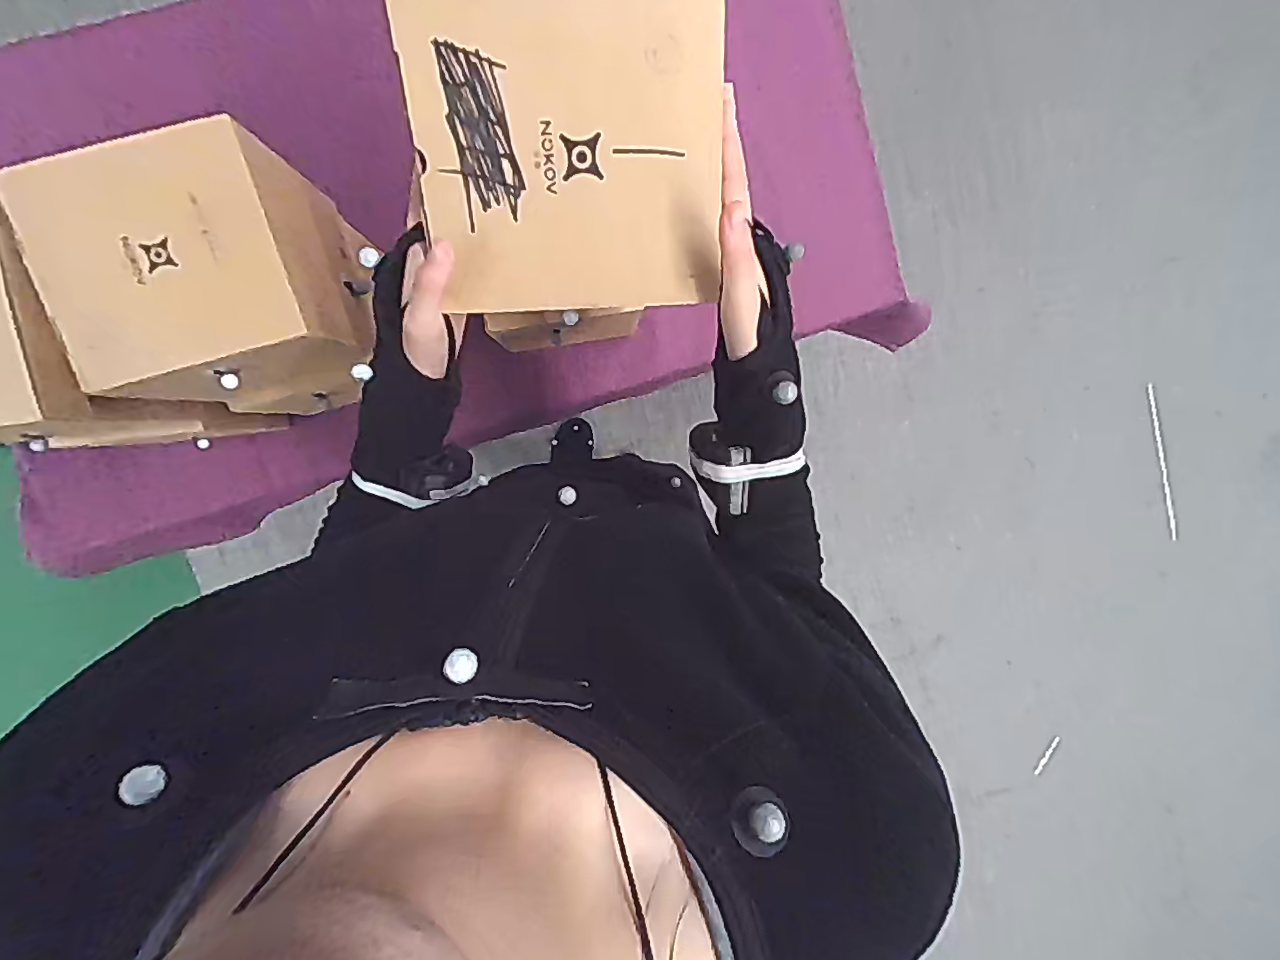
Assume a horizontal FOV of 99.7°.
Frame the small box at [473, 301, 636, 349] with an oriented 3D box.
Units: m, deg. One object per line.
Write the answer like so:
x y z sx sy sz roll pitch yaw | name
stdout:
-0.105 -0.259 0.651 0.179 0.176 0.168 -9 97 -4 | small box

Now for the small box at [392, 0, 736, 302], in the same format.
-0.037 -0.211 0.368 0.179 0.176 0.168 -1 112 0 | small box
